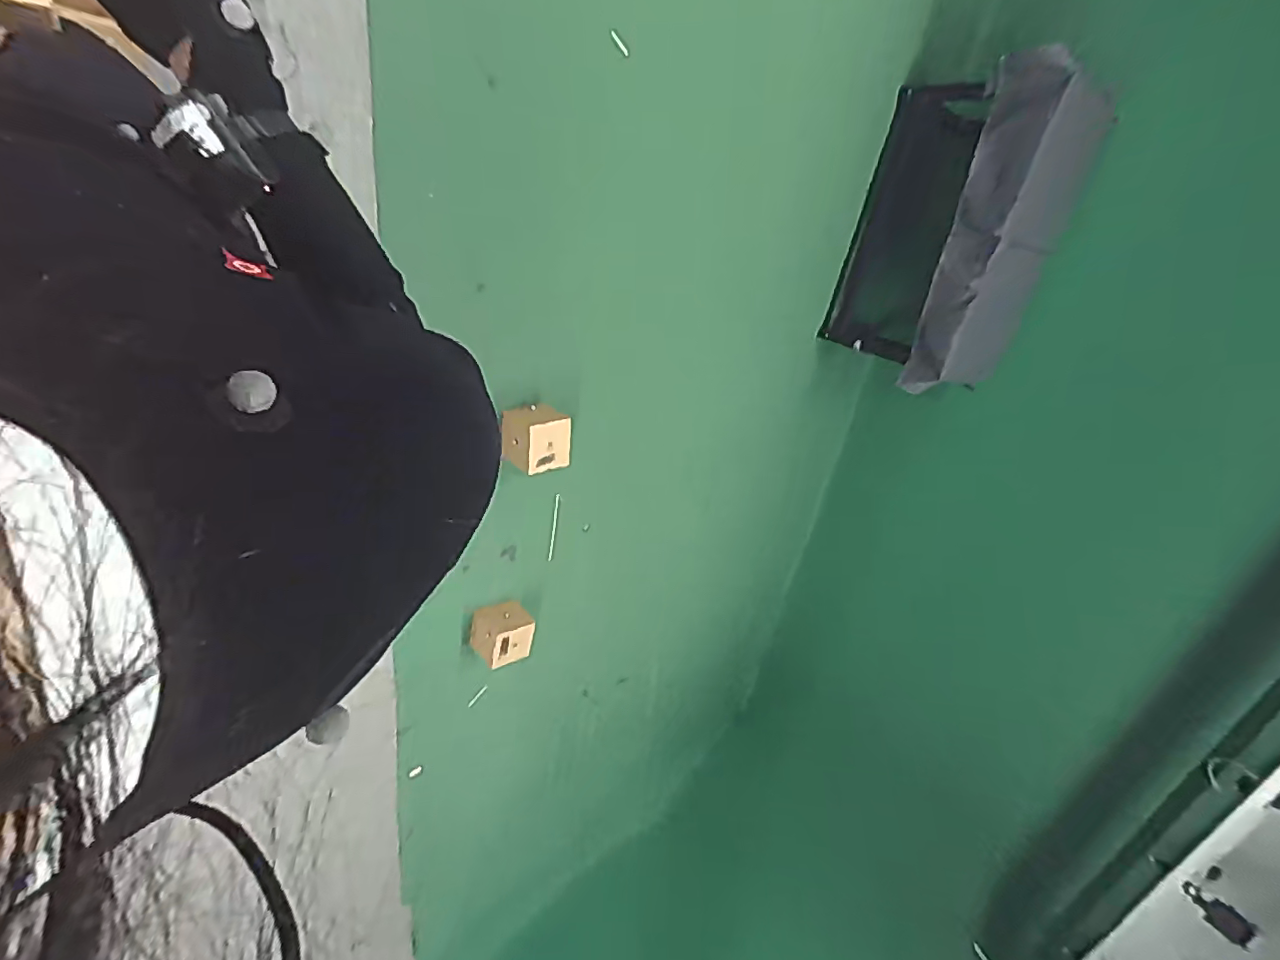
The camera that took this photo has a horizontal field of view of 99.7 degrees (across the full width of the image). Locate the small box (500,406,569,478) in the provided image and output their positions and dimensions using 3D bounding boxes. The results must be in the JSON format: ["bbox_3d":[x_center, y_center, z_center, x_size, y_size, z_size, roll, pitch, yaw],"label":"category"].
[{"bbox_3d":[-0.361,-0.133,1.829,0.168,0.176,0.179,-18,126,-41],"label":"small box"}]
